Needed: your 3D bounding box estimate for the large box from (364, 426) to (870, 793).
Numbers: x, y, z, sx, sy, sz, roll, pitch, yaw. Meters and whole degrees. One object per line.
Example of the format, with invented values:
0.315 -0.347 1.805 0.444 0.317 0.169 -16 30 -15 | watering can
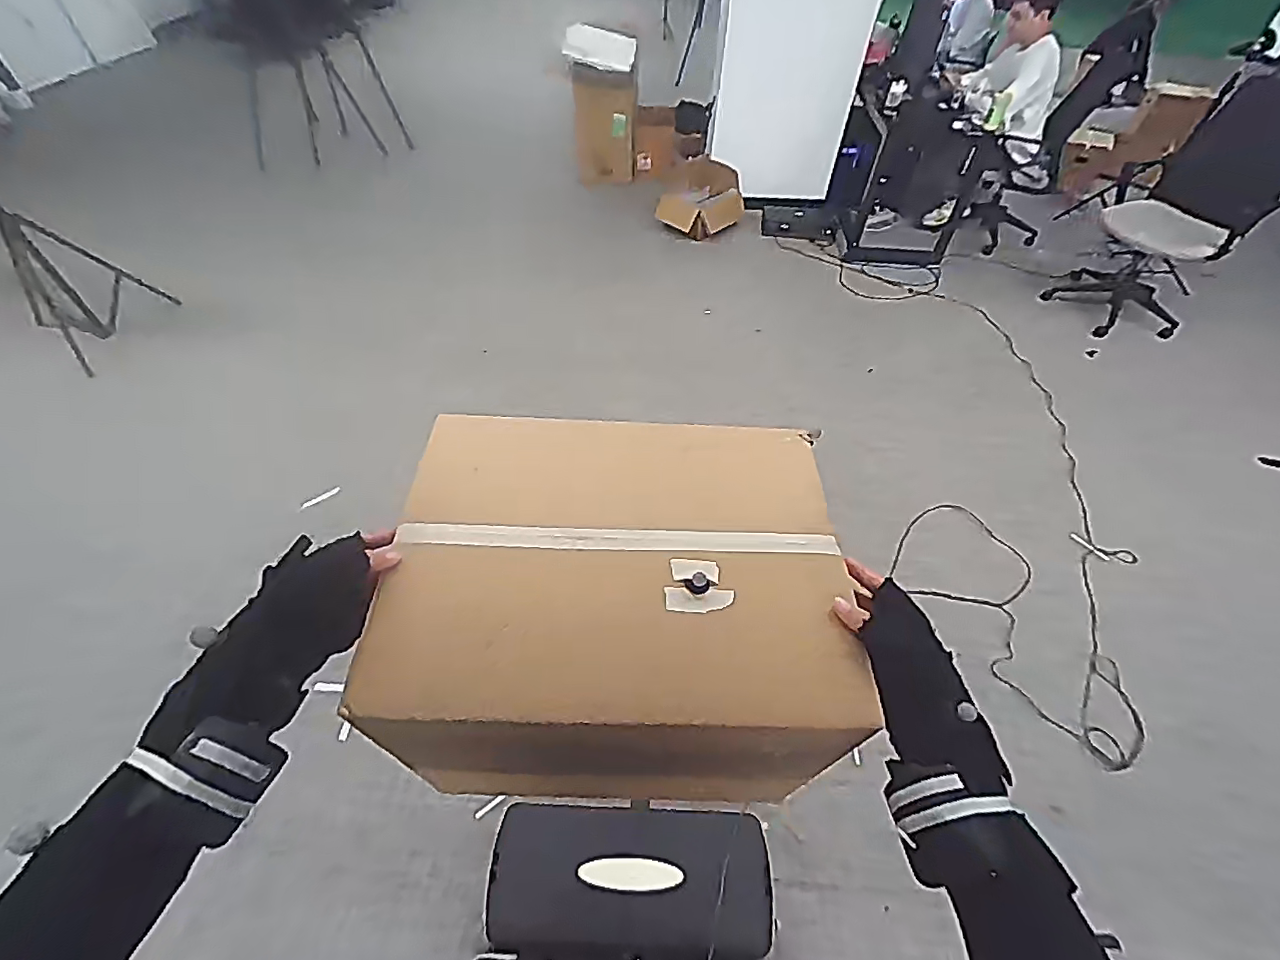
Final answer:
-0.024 0.158 0.625 0.408 0.320 0.320 3 51 -2 | large box
